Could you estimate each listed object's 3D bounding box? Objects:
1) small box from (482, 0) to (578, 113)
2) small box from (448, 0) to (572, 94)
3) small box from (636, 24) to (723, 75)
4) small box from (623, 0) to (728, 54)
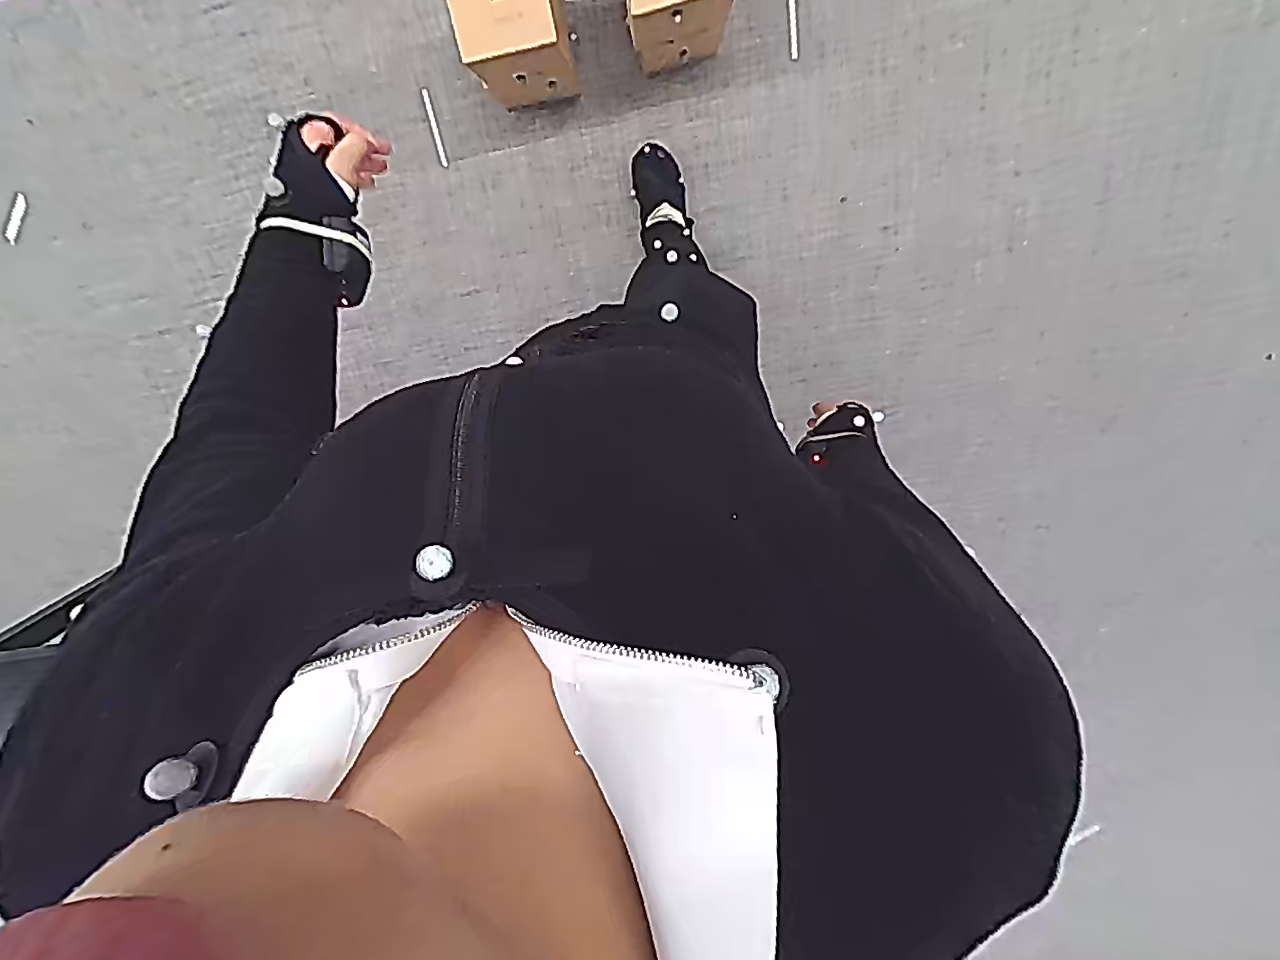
[{"bbox_3d":[-0.228,-0.869,1.095,0.179,0.176,0.168,-8,112,5],"label":"small box"},{"bbox_3d":[-0.226,-0.811,0.943,0.168,0.176,0.179,-8,114,7],"label":"small box"},{"bbox_3d":[0.063,-0.929,1.063,0.168,0.176,0.179,-12,113,6],"label":"small box"},{"bbox_3d":[0.053,-0.860,0.913,0.179,0.176,0.168,-12,112,6],"label":"small box"}]
